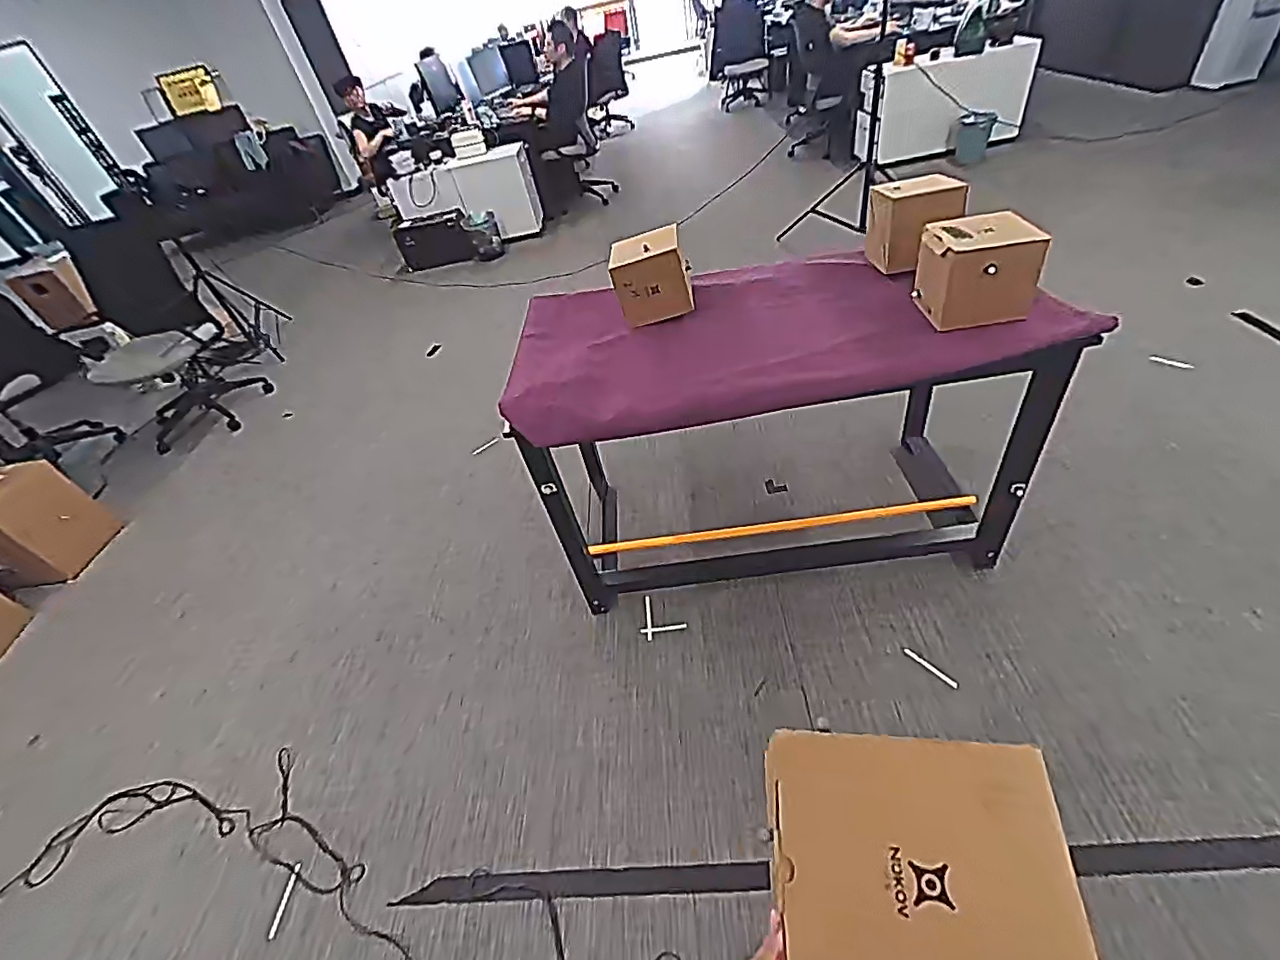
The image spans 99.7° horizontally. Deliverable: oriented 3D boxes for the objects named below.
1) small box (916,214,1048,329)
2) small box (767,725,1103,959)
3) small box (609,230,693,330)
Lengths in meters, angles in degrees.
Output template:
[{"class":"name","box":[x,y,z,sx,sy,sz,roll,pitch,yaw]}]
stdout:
[{"class":"small box","box":[0.699,-0.433,1.135,0.179,0.176,0.168,-6,41,8]},{"class":"small box","box":[0.189,0.284,0.400,0.179,0.176,0.168,-2,59,11]},{"class":"small box","box":[0.031,-0.516,1.386,0.179,0.168,0.176,-12,41,13]}]
